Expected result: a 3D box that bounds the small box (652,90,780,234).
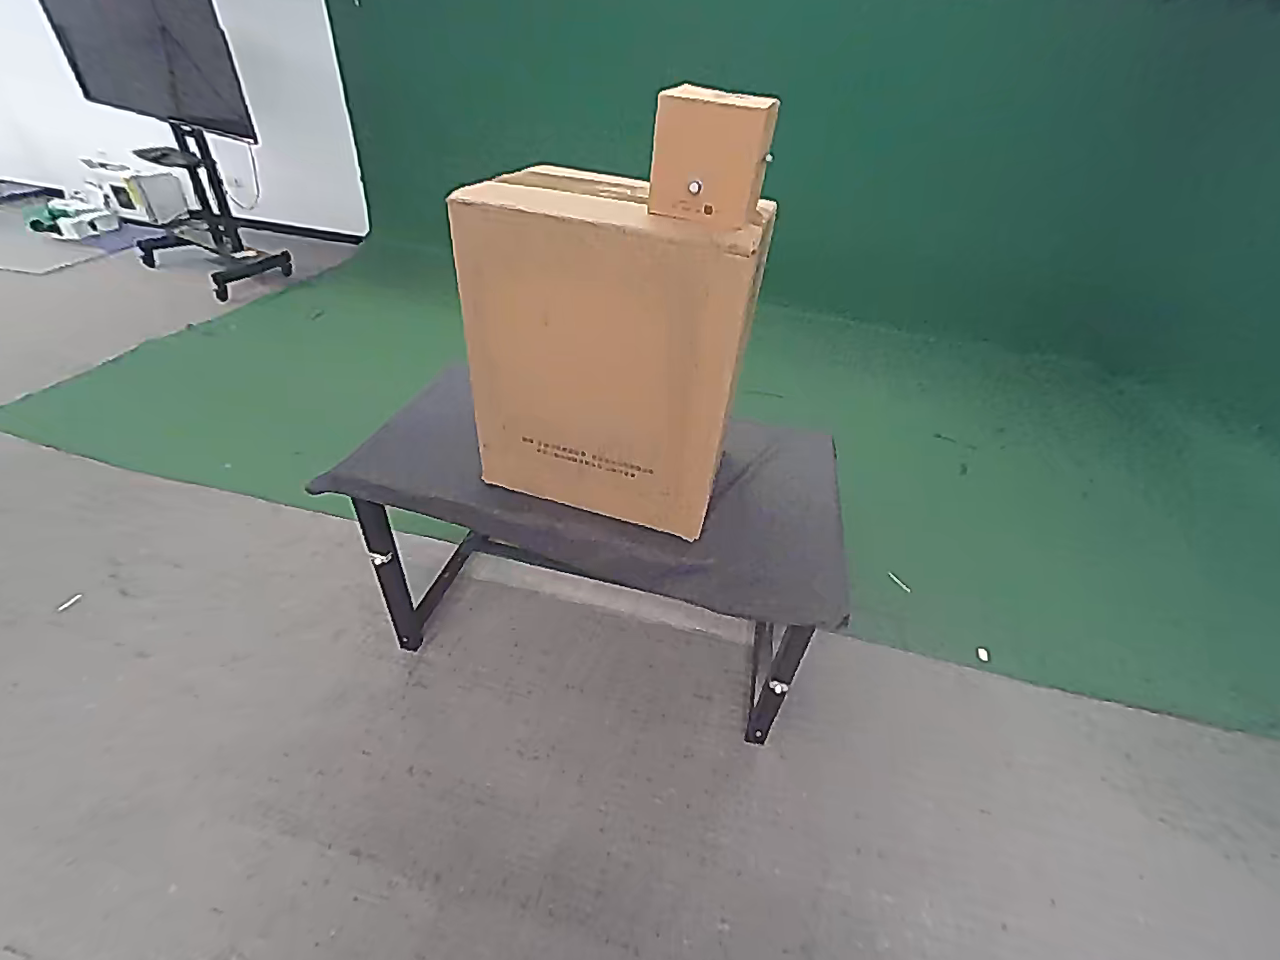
[{"bbox_3d":[0.124,-0.534,0.906,0.168,0.176,0.179,16,42,10],"label":"small box"}]
